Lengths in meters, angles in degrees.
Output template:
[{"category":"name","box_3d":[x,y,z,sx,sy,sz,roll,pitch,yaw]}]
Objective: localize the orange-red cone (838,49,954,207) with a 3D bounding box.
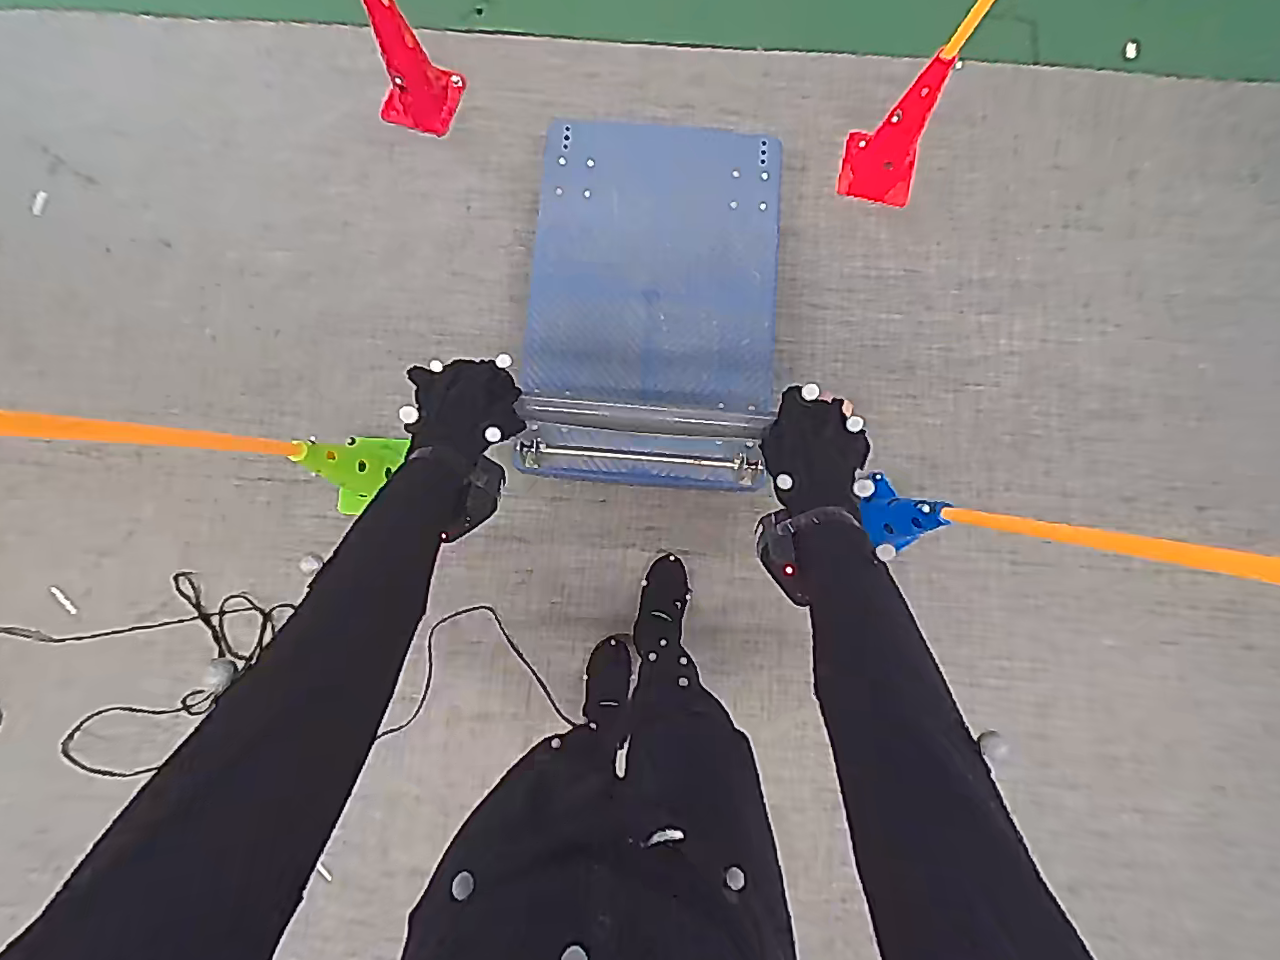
[{"category":"orange-red cone","box_3d":[0.661,-0.886,1.335,0.198,0.360,0.199,15,83,3]}]
